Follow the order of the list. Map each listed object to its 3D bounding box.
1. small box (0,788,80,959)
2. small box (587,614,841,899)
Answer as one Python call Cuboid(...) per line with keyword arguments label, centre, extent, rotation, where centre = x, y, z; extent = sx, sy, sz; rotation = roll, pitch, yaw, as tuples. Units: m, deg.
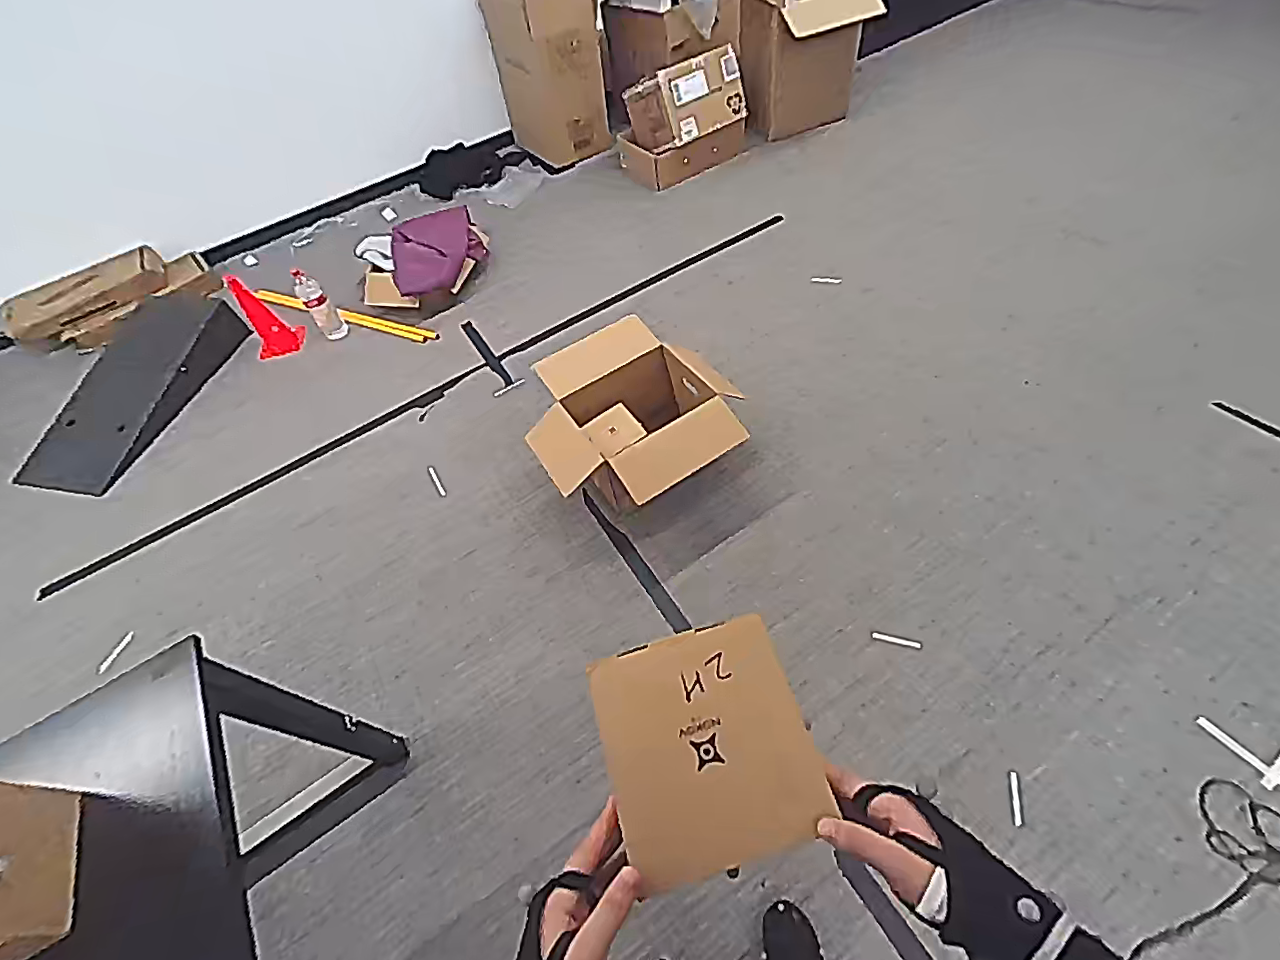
Cuboid(label="small box", centre=(-0.798, 0.472, 0.611), extent=(0.168, 0.176, 0.179), rotation=(-29, 56, -12))
Cuboid(label="small box", centre=(0.059, 0.252, 0.510), extent=(0.168, 0.176, 0.179), rotation=(-16, 59, -5))
